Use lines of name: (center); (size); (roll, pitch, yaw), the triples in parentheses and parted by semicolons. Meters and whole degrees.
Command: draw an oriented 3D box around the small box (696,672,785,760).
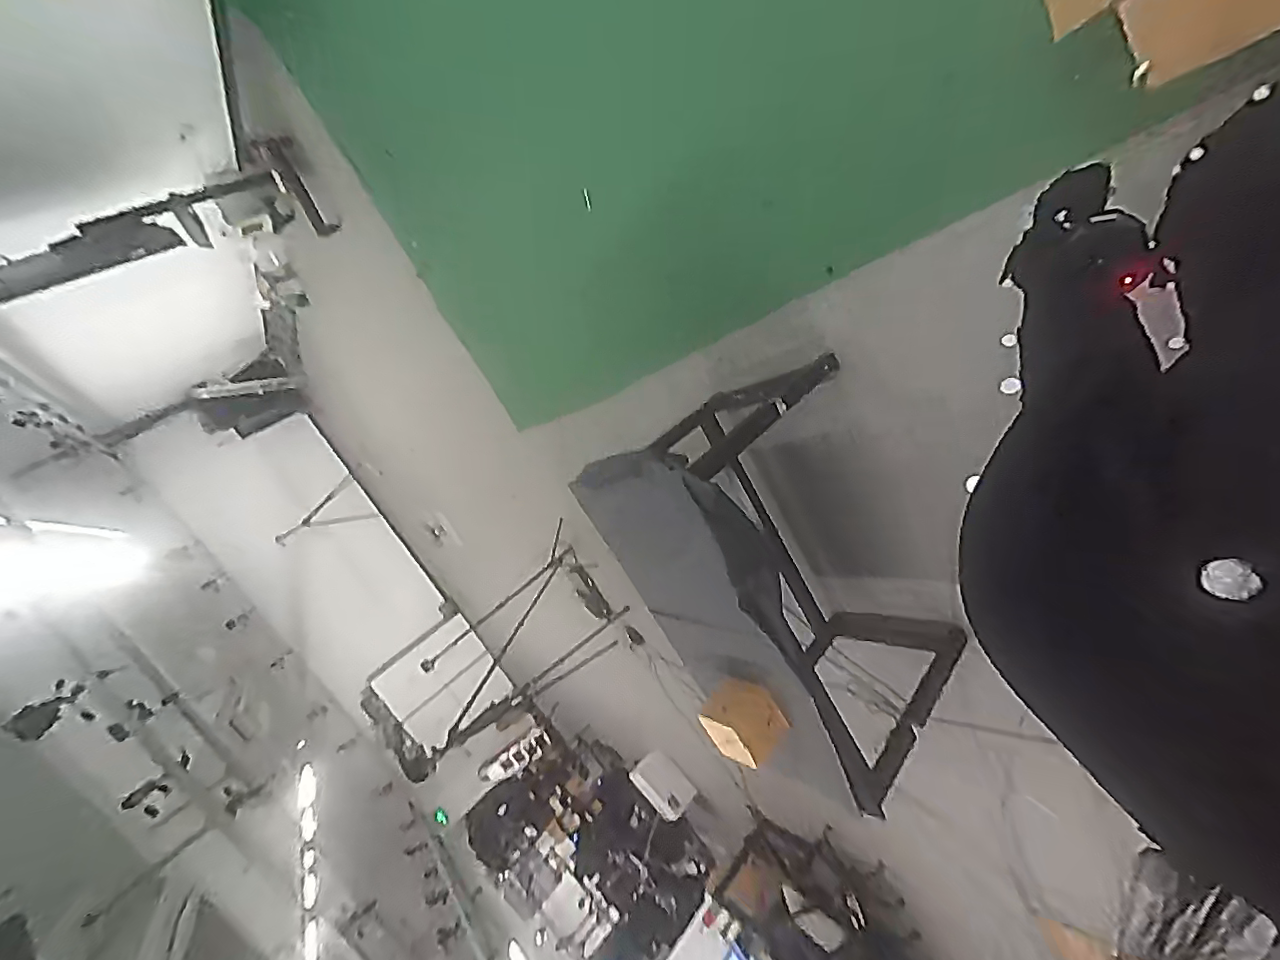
small box: (0.315, 0.723, 1.681); (0.179, 0.176, 0.168); (-14, 110, 57)
